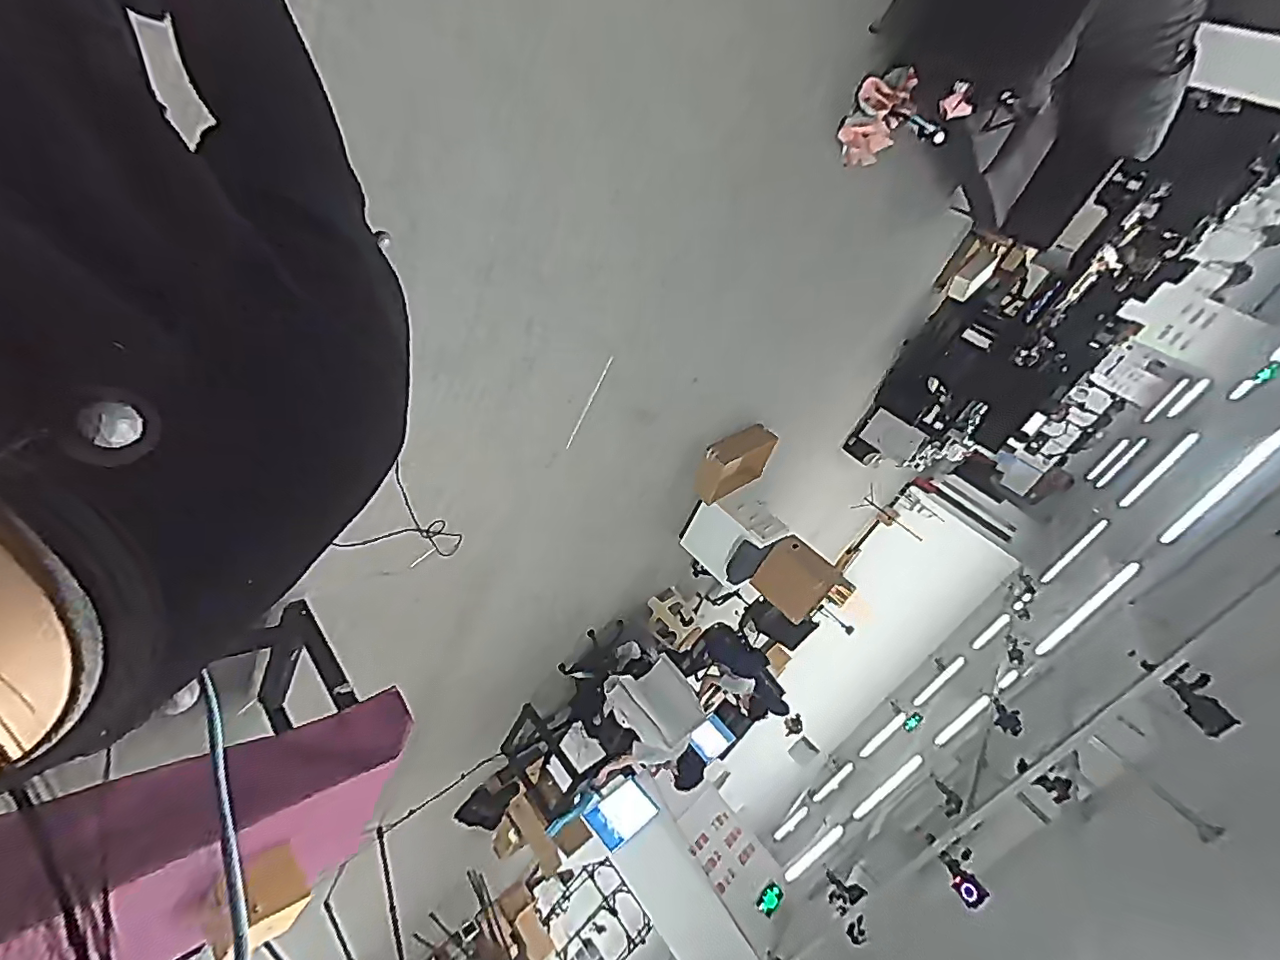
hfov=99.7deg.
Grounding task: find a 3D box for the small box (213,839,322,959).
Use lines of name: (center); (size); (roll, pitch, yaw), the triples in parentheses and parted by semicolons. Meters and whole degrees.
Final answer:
small box: (-1.026, 1.140, 1.488); (0.168, 0.176, 0.179); (-54, 151, 13)
